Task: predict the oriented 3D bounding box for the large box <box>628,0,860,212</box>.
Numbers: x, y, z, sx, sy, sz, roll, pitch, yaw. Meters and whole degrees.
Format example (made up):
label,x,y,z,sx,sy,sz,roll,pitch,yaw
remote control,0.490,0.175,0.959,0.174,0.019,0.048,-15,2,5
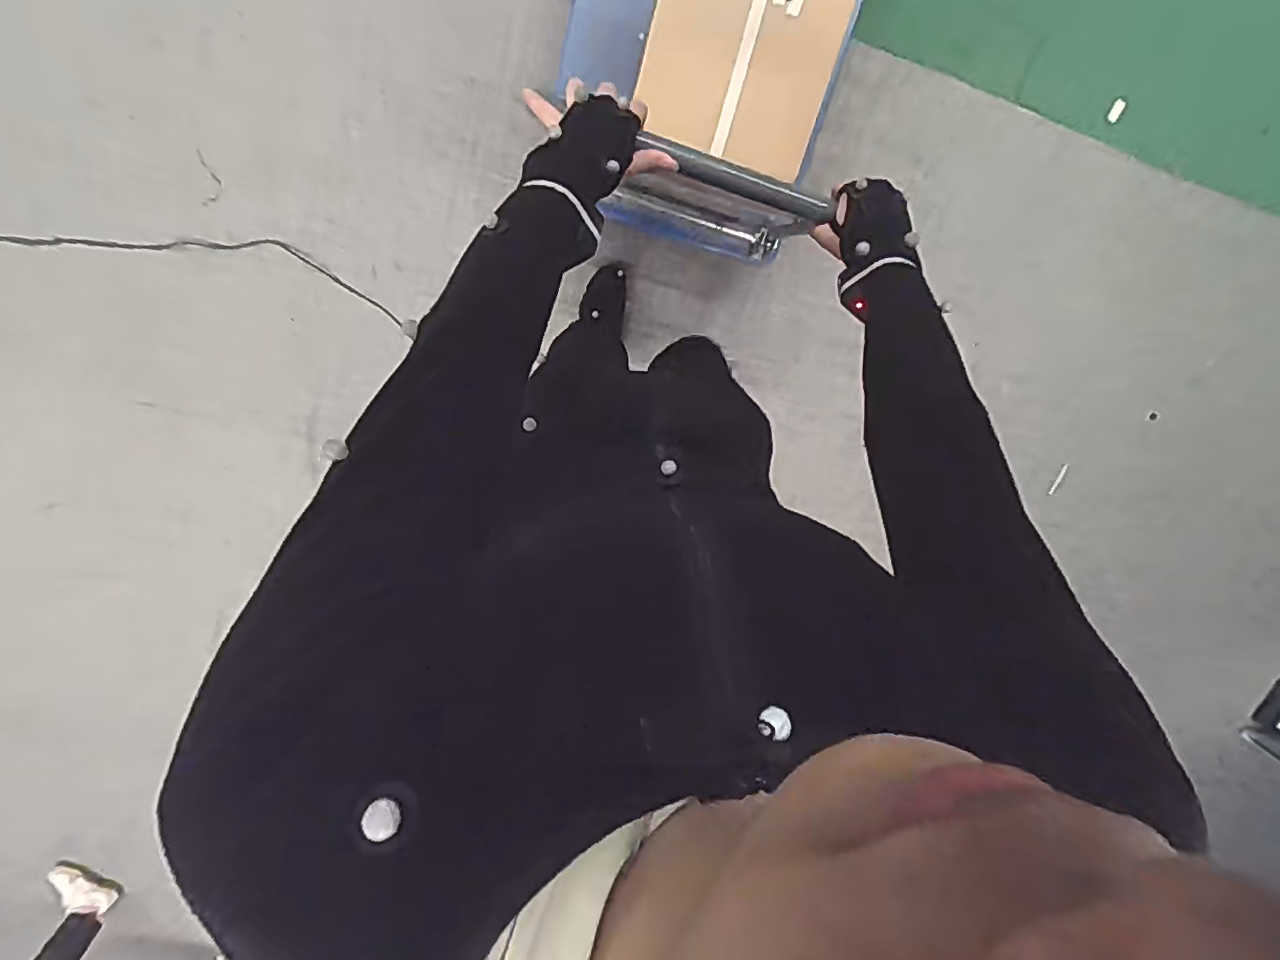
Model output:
label,x,y,z,sx,sy,sz,roll,pitch,yaw
large box,0.175,-0.775,1.017,0.320,0.320,0.408,13,107,-10
